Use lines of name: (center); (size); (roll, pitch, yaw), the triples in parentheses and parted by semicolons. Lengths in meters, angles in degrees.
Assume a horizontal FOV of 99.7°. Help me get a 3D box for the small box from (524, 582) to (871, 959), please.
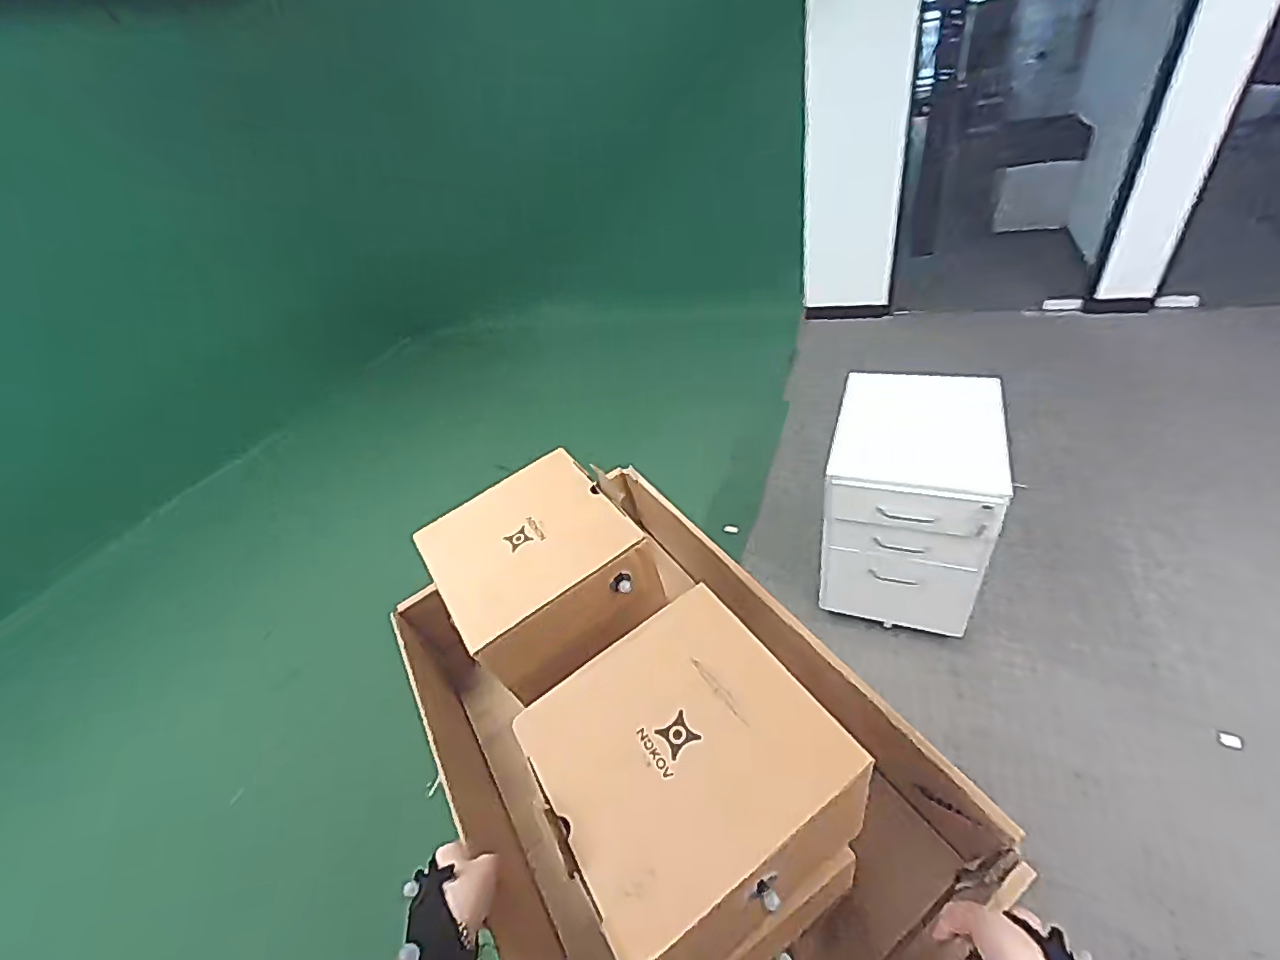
small box: (0.045, 0.219, 0.406); (0.179, 0.176, 0.168); (-32, 46, -14)

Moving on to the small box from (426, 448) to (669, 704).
small box: (-0.085, 0.105, 0.563); (0.179, 0.176, 0.168); (-32, 47, -16)
